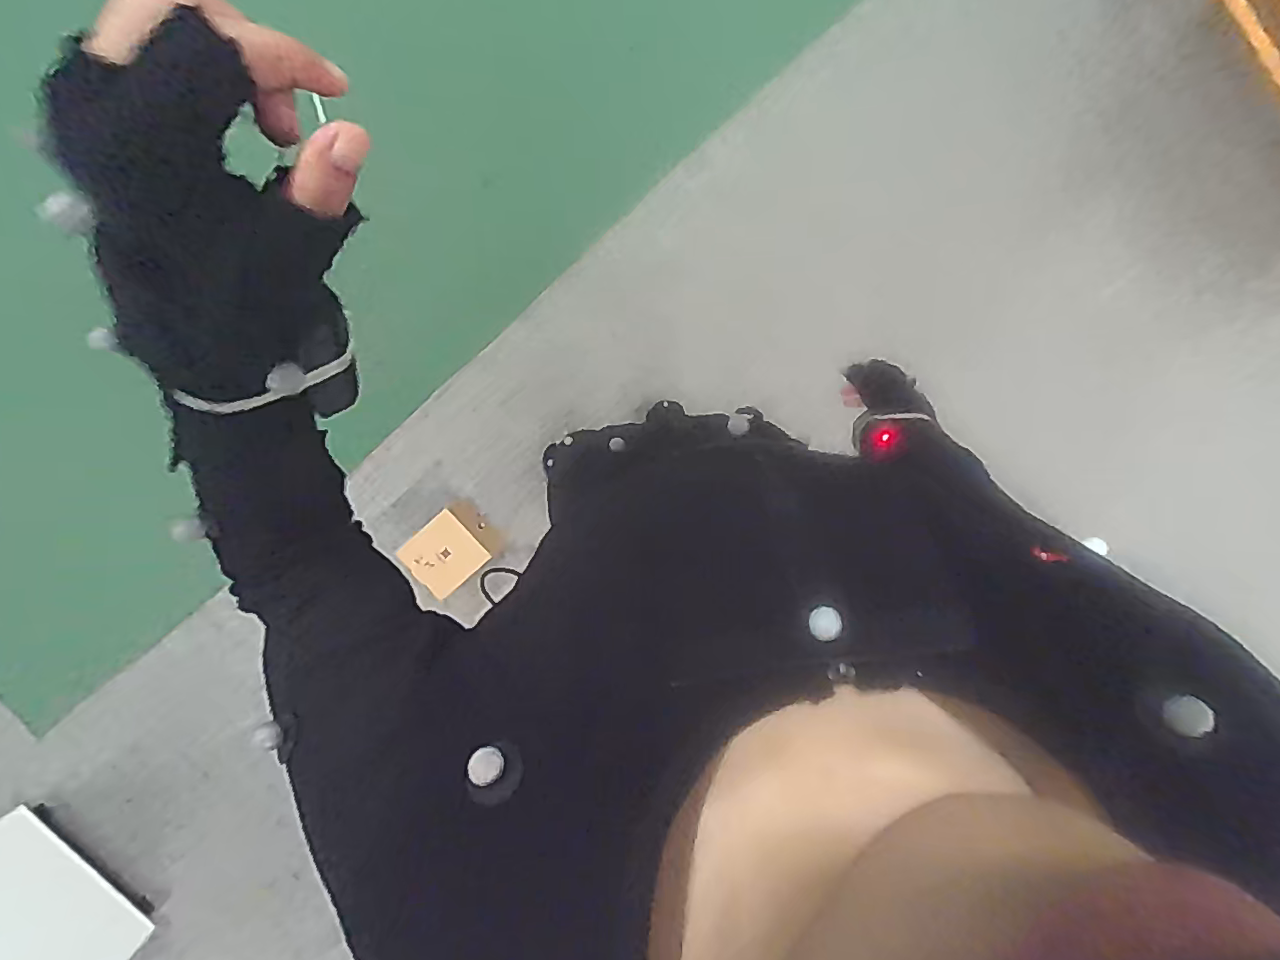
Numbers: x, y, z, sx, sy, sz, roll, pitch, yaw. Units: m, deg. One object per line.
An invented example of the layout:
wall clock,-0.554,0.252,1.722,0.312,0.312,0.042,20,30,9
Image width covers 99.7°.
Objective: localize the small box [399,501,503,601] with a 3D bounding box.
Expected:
small box,-0.474,0.174,1.395,0.179,0.176,0.168,-41,95,3
